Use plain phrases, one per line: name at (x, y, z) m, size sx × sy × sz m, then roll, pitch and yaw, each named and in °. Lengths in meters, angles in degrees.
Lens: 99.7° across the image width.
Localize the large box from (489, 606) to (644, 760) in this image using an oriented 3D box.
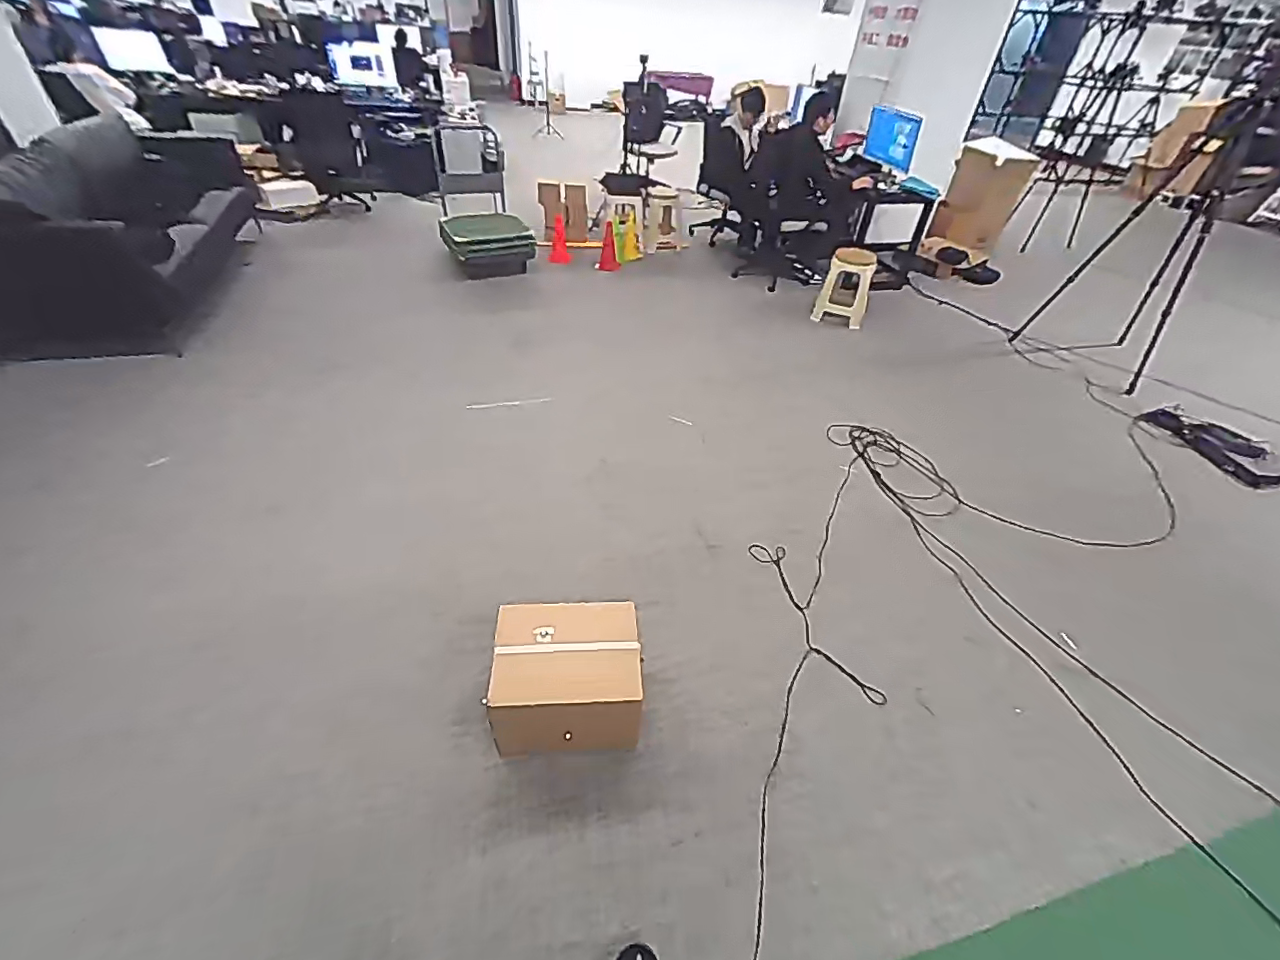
large box at (-0.206, 0.599, 1.598) m, size 0.408 × 0.320 × 0.320 m, roll -1°, pitch 40°, yaw -5°
